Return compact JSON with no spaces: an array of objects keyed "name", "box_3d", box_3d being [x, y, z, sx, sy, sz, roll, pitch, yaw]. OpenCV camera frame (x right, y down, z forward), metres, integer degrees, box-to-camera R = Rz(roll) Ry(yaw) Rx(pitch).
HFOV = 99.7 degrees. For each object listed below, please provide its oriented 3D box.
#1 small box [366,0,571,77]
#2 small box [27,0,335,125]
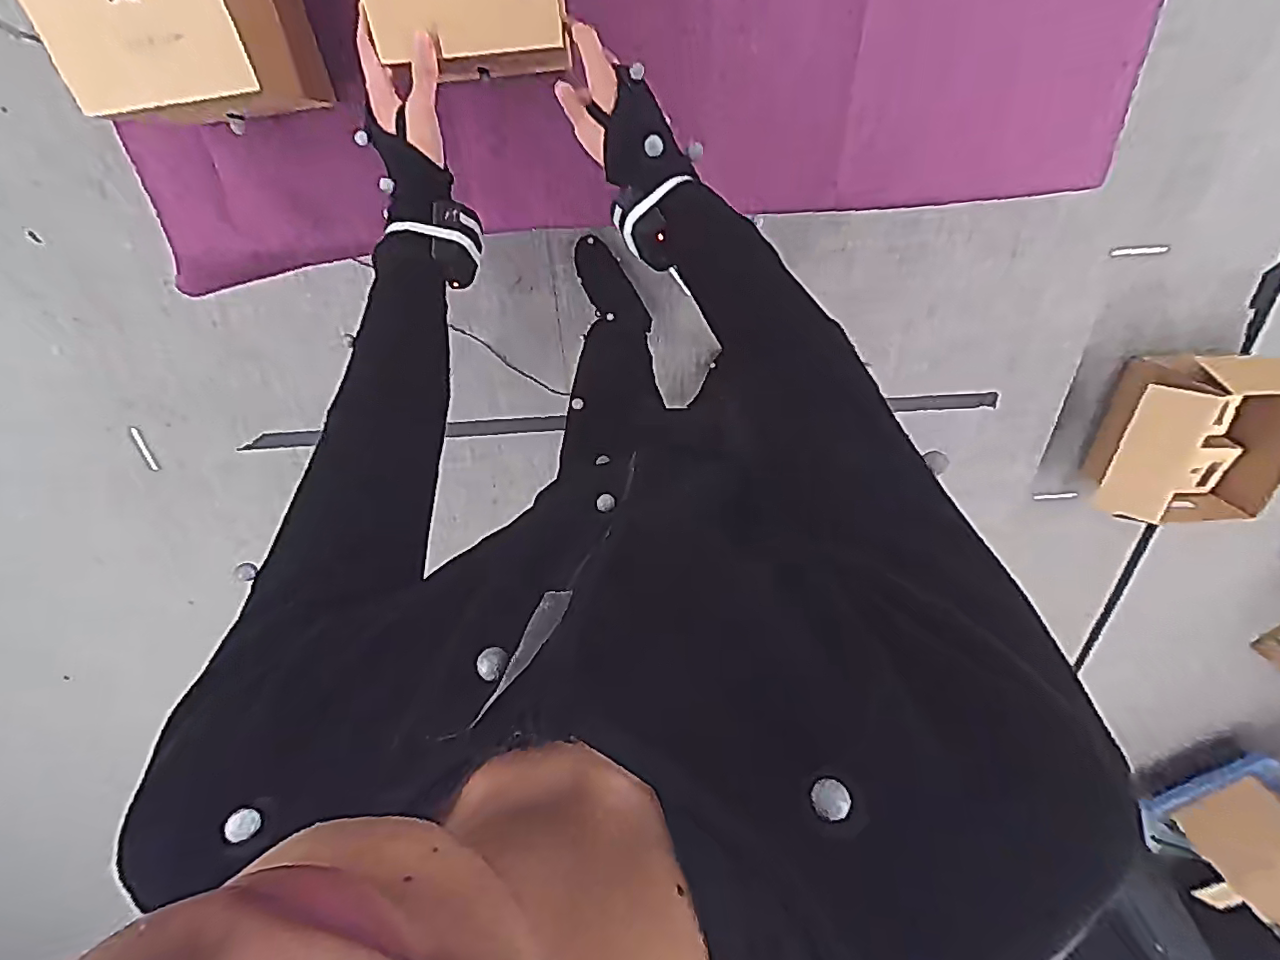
[{"name":"small box","box_3d":[-0.160,-0.495,0.507,0.168,0.176,0.179,-6,122,-1]},{"name":"small box","box_3d":[-0.432,-0.455,0.513,0.168,0.176,0.179,-8,121,1]}]
